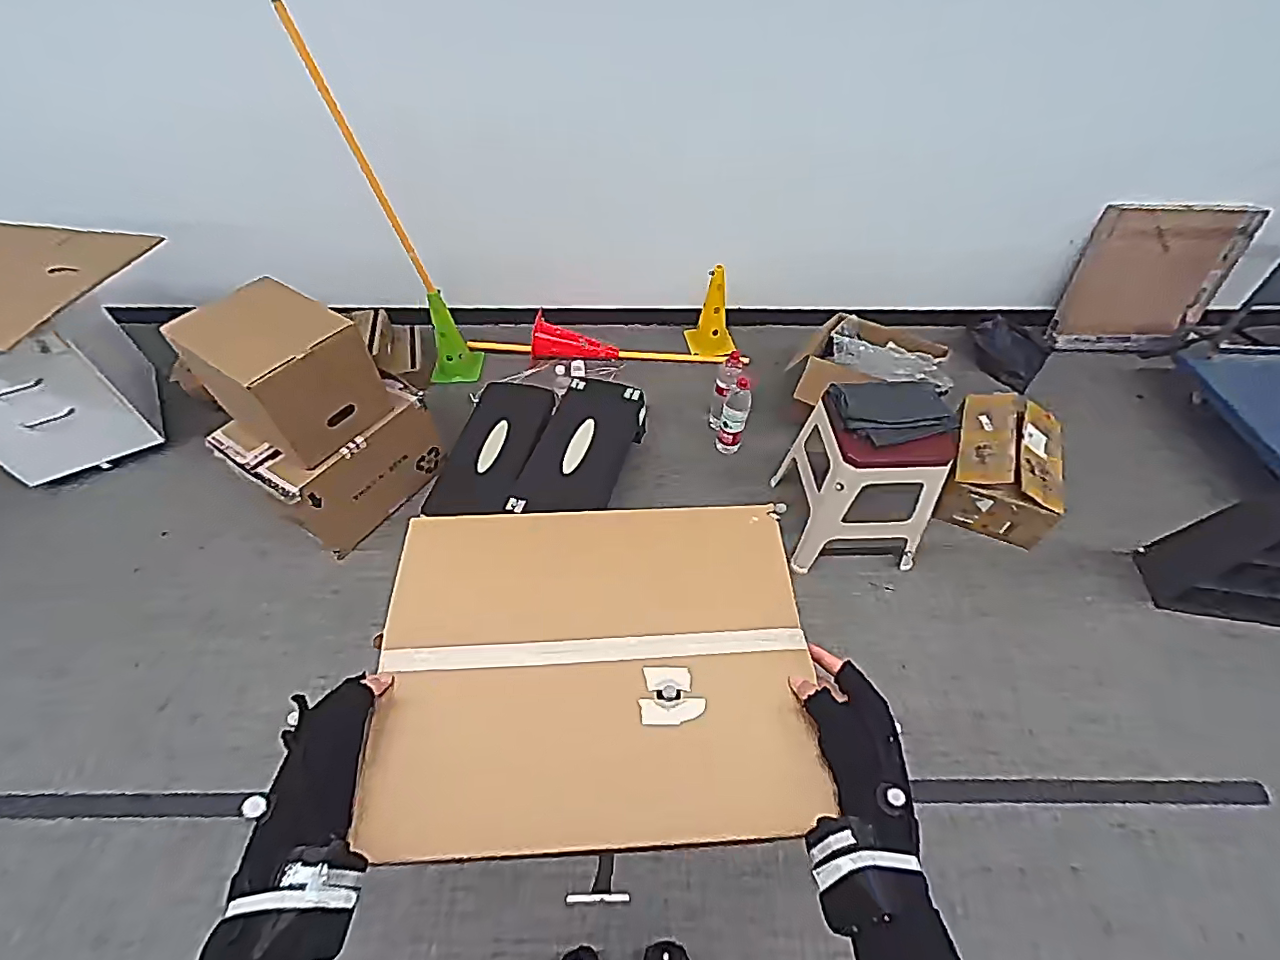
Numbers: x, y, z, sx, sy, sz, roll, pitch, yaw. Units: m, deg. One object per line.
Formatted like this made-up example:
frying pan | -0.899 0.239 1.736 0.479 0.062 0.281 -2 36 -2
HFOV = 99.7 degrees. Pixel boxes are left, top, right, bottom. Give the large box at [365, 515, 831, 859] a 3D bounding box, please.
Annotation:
large box | -0.045 0.259 0.659 0.408 0.320 0.320 -1 56 -3
